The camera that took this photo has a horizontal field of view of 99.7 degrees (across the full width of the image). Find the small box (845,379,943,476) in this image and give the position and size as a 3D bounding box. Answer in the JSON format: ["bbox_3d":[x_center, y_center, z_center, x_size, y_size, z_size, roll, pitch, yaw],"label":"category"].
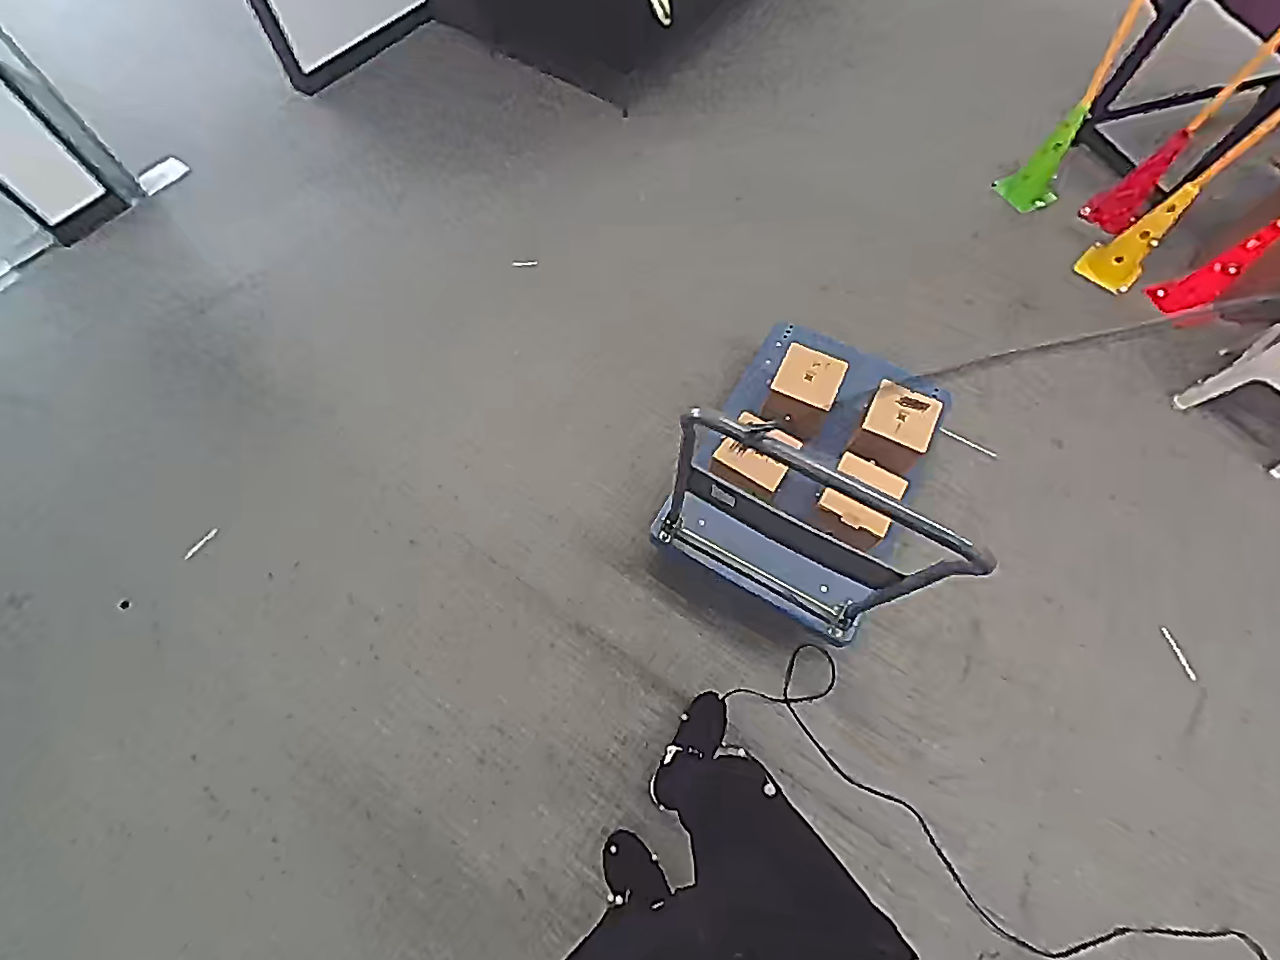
[{"bbox_3d":[0.683,-0.136,1.472,0.168,0.176,0.179,26,68,12],"label":"small box"}]

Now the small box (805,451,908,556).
[{"bbox_3d":[0.542,0.065,1.378,0.168,0.176,0.179,29,68,13],"label":"small box"}]

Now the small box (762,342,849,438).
[{"bbox_3d":[0.457,-0.247,1.523,0.168,0.176,0.179,25,67,10],"label":"small box"}]
